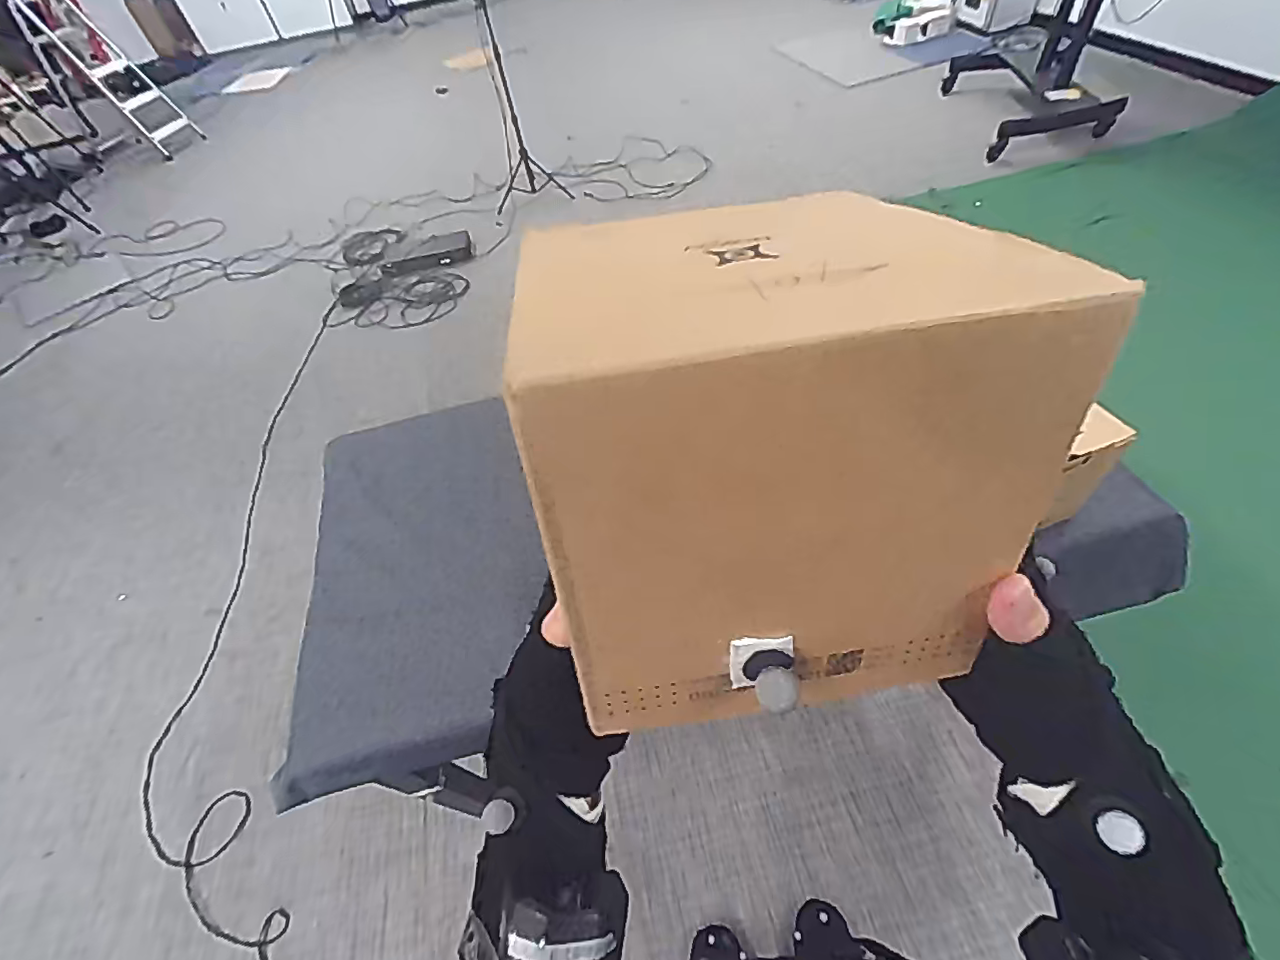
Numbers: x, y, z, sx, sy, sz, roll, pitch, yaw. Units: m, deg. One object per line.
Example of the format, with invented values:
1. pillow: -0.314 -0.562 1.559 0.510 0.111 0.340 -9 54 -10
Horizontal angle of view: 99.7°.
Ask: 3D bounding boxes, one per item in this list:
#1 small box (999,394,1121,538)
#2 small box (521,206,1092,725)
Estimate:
1. small box: 0.476 -0.029 0.741 0.168 0.176 0.179 -19 50 -5
2. small box: 0.043 -0.018 0.261 0.168 0.176 0.179 -11 37 -4
